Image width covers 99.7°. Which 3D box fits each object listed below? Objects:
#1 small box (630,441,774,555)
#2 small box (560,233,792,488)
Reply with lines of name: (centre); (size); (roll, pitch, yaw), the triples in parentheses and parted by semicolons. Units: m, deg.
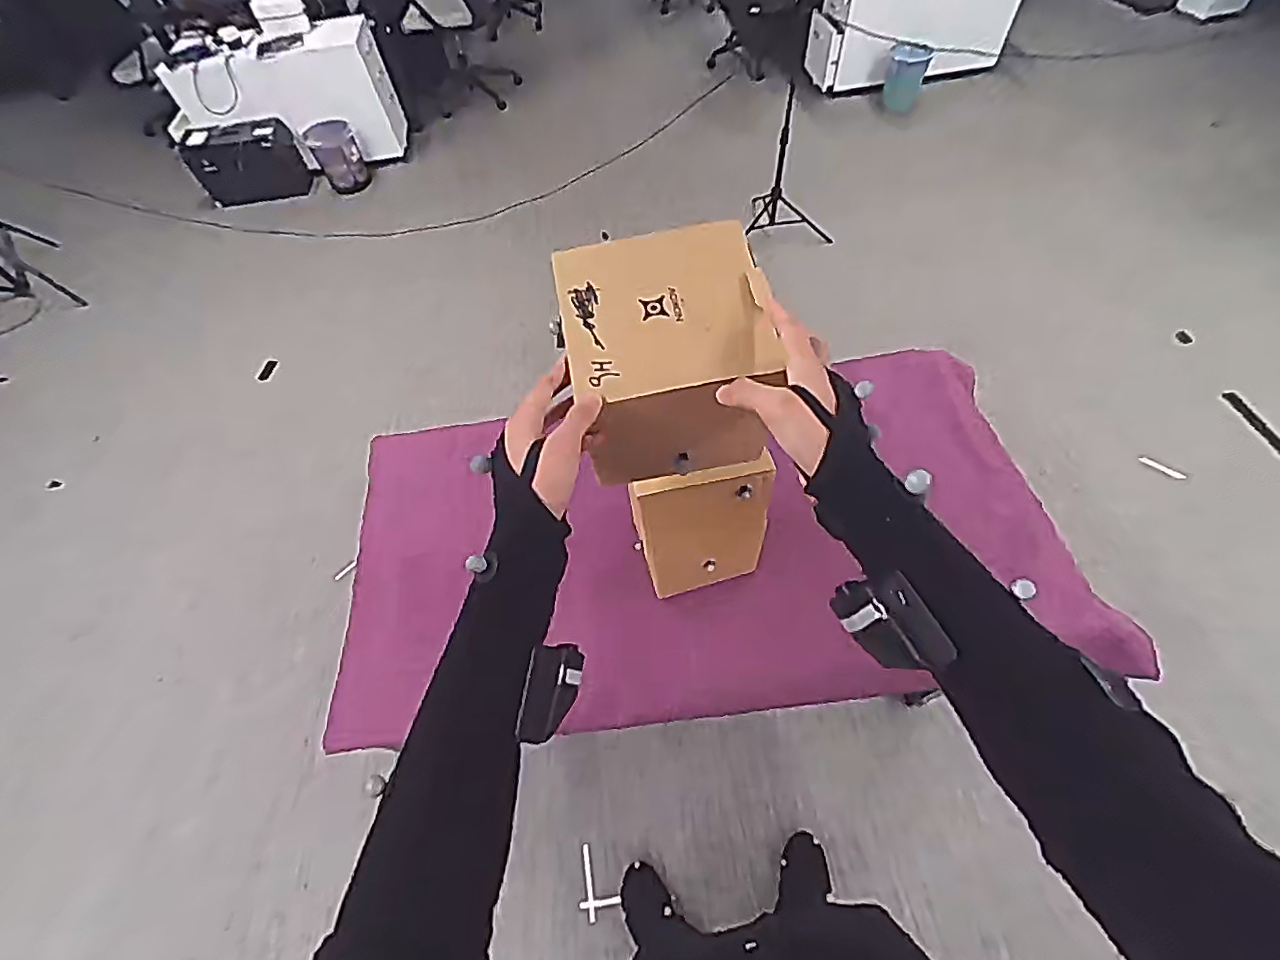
small box: (0.071, -0.011, 0.759); (0.179, 0.176, 0.168); (-11, 57, -3)
small box: (0.027, -0.106, 0.530); (0.179, 0.176, 0.168); (-10, 66, -2)
